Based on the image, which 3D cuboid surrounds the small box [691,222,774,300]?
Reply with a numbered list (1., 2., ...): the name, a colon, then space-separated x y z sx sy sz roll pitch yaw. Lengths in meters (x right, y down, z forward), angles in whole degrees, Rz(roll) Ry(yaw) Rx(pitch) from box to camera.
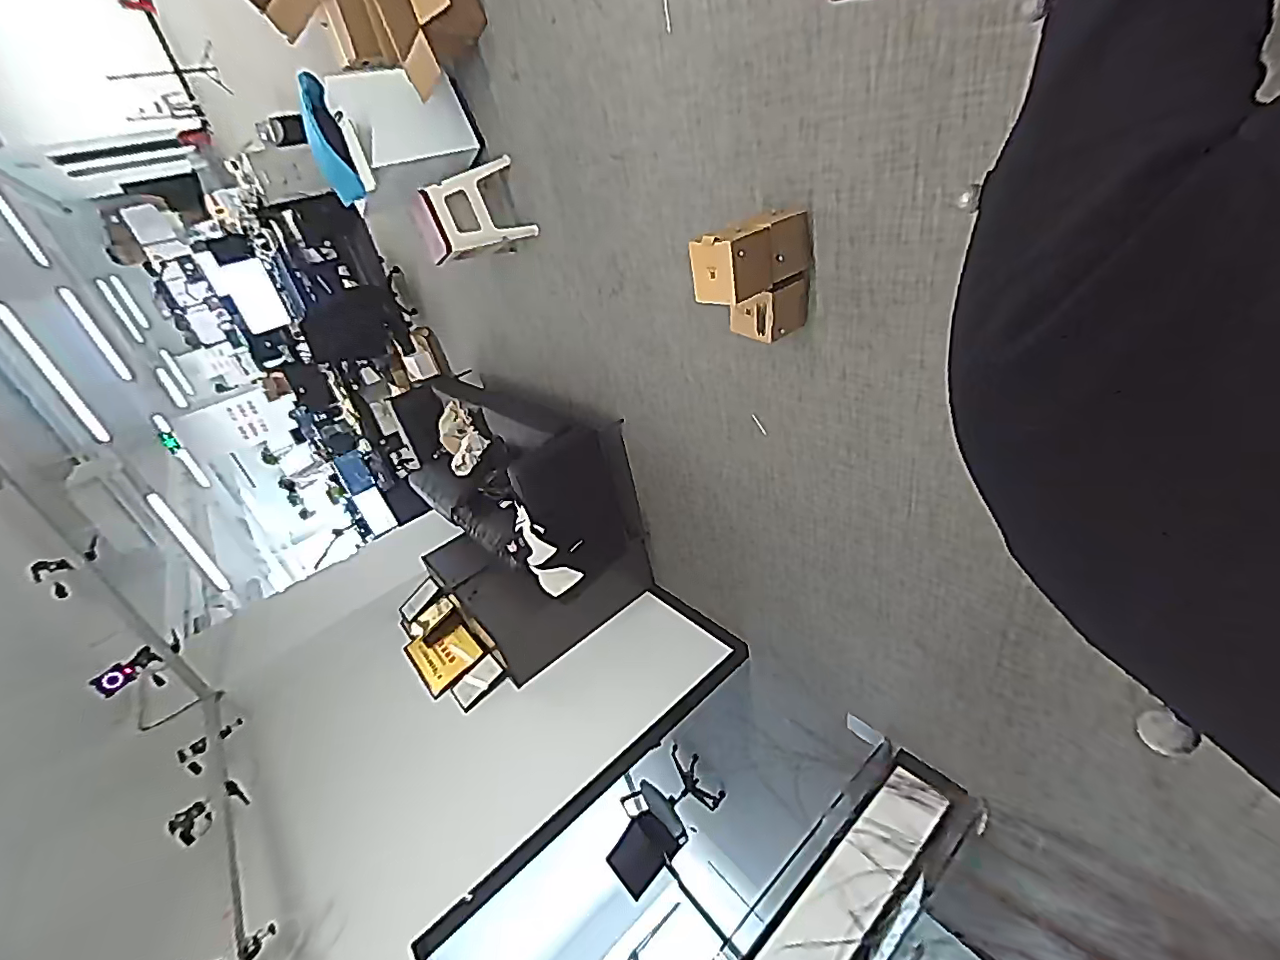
1. small box: 0.277 -0.644 1.587 0.168 0.176 0.179 25 137 46
